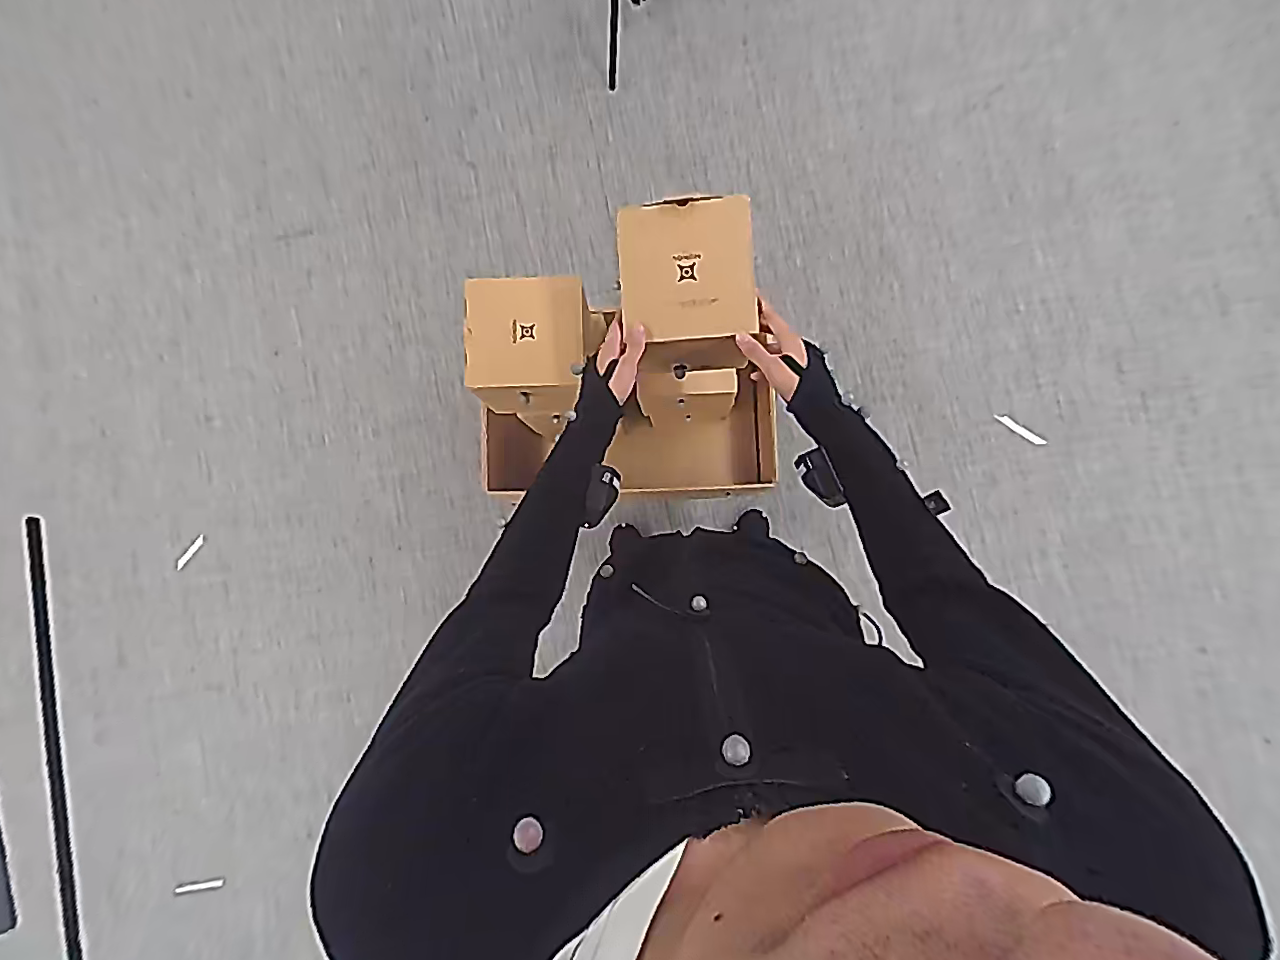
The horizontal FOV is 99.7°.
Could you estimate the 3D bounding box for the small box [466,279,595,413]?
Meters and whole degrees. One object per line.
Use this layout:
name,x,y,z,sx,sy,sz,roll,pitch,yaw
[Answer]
small box,-0.164,-0.205,0.864,0.179,0.176,0.168,-2,85,2

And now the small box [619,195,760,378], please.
small box,0.065,-0.249,0.732,0.168,0.176,0.179,-4,86,6
